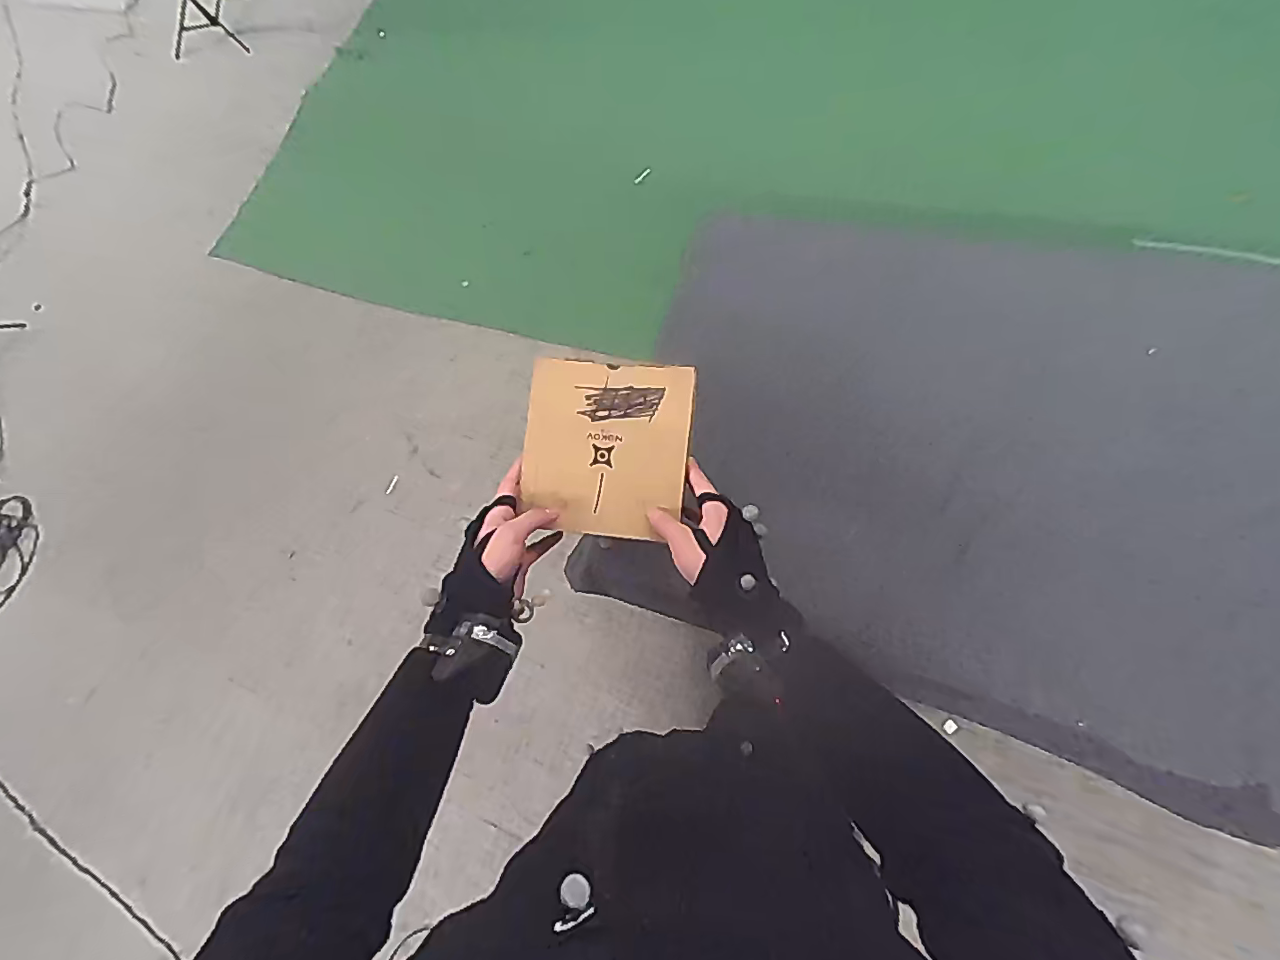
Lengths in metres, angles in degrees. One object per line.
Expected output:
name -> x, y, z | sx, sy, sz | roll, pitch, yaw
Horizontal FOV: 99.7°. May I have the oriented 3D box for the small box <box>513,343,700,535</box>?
small box -> -0.026, -0.035, 0.603 | 0.168, 0.176, 0.179 | 6, 86, 6
